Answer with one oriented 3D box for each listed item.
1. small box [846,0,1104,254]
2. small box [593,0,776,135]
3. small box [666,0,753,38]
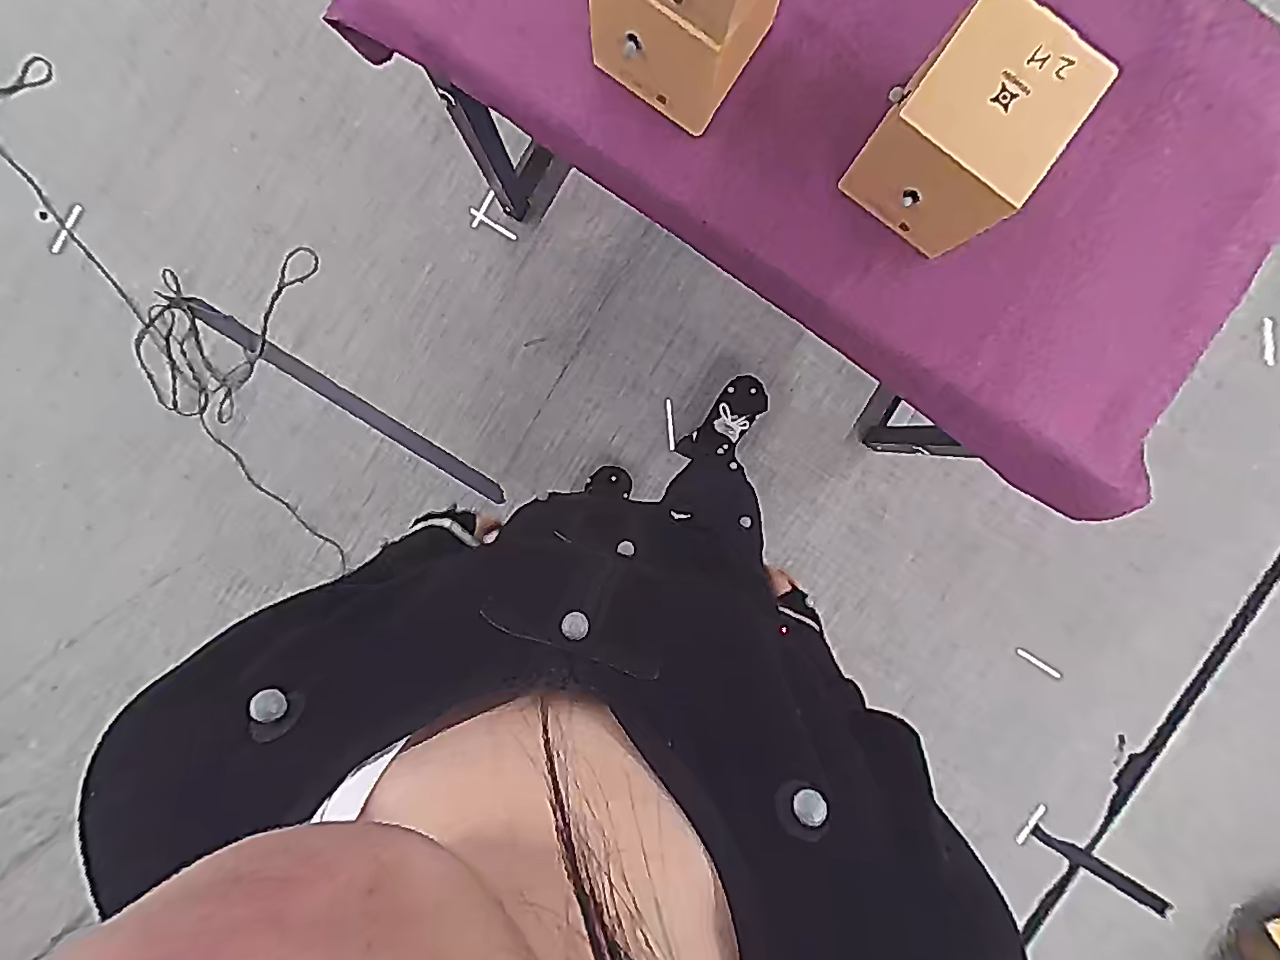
[{"bbox_3d":[0.379,-0.410,0.654,0.168,0.176,0.179,35,92,-5],"label":"small box"},{"bbox_3d":[0.057,-0.559,0.632,0.168,0.176,0.179,33,92,-5],"label":"small box"},{"bbox_3d":[0.065,-0.552,0.468,0.168,0.176,0.179,31,93,-5],"label":"small box"}]
